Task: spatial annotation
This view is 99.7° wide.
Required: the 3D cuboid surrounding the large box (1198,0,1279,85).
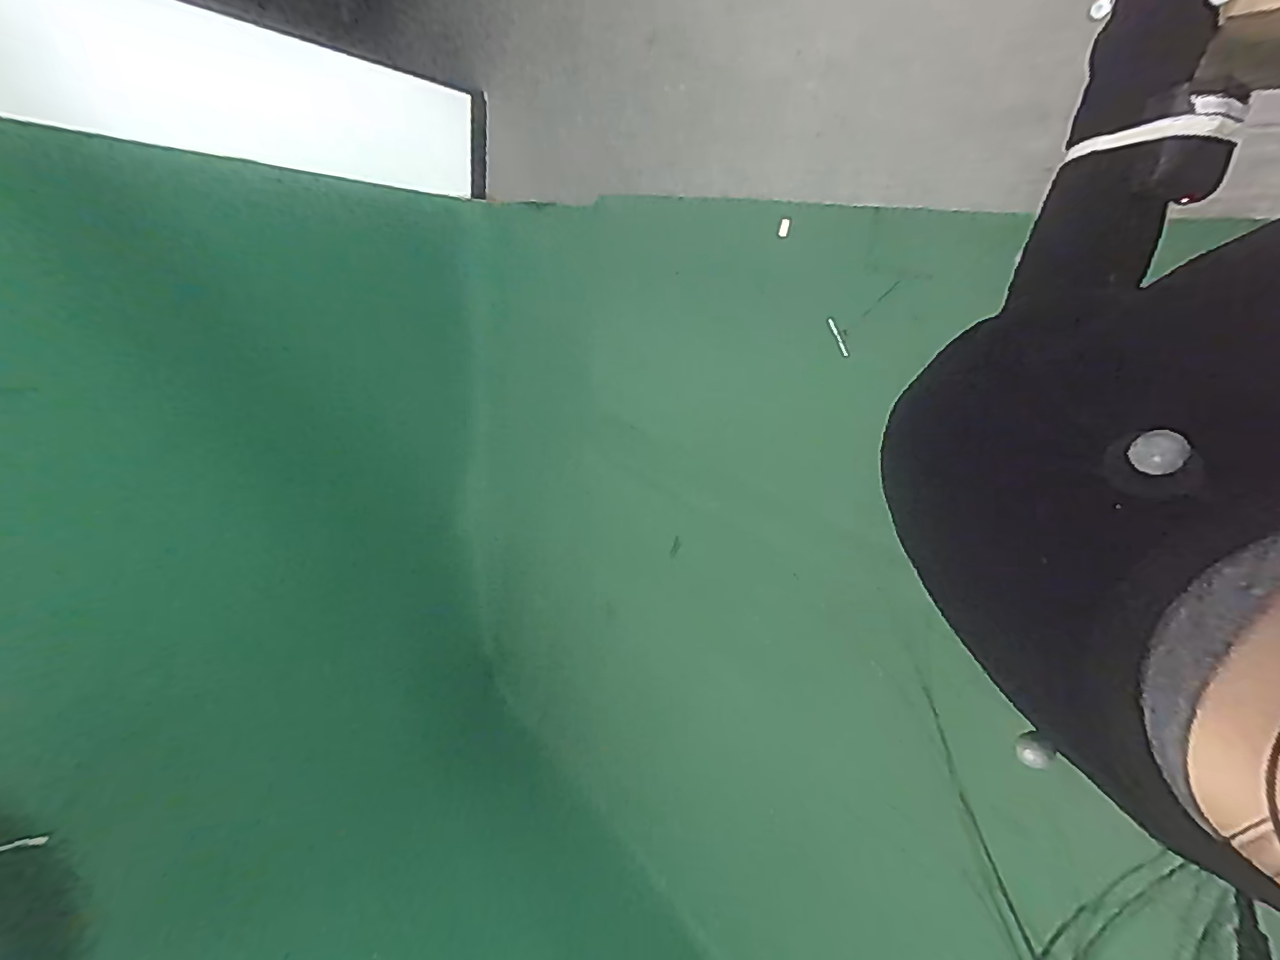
[{"bbox_3d":[0.600,-0.421,0.251,0.408,0.320,0.320,19,121,36],"label":"large box"}]
